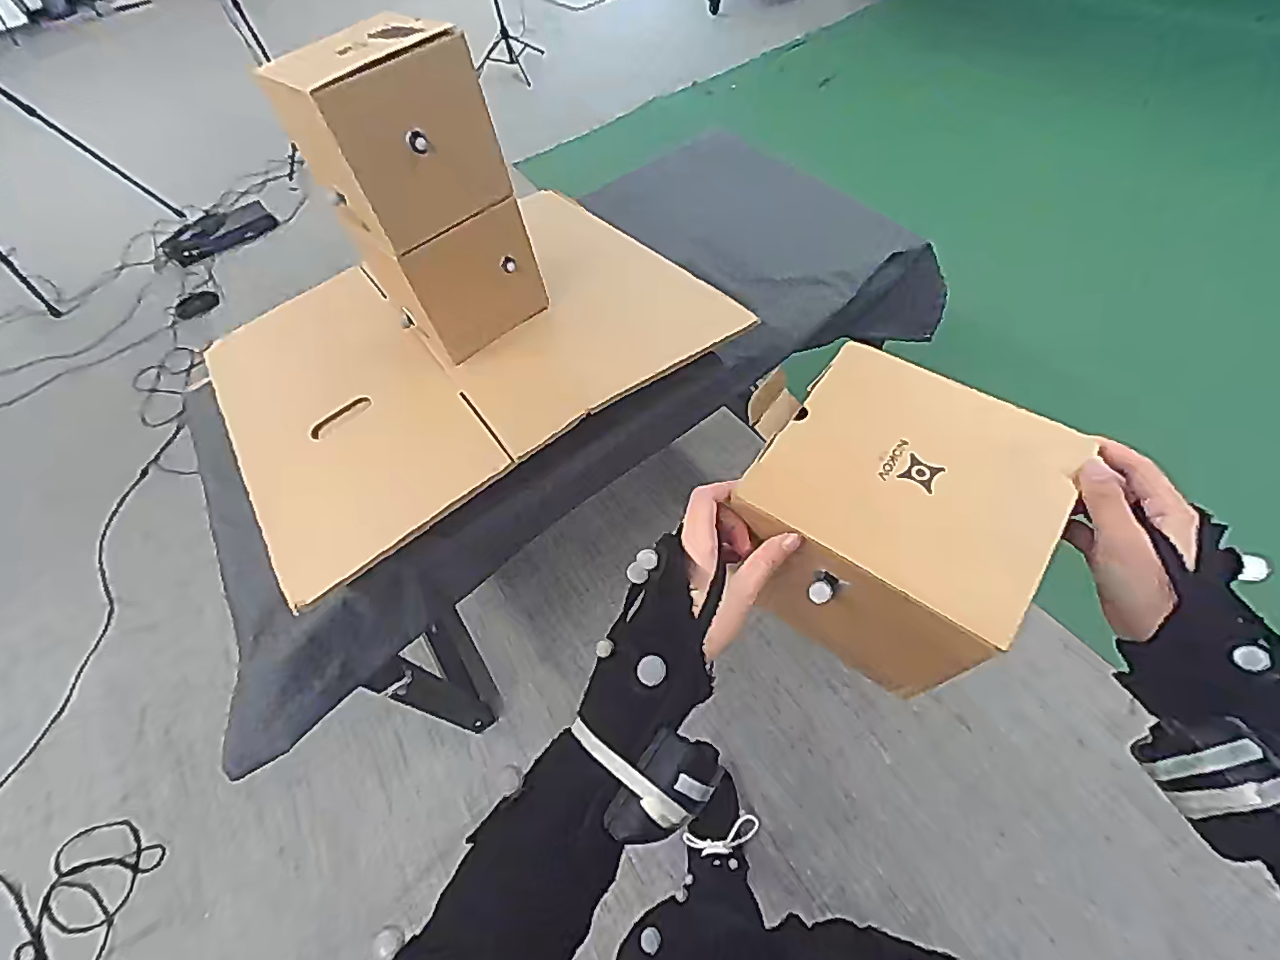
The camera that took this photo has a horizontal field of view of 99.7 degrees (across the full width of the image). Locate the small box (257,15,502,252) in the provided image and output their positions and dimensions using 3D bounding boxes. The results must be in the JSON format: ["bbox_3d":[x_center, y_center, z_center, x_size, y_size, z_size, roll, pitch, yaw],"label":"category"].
[{"bbox_3d":[-0.284,-0.400,0.629,0.179,0.176,0.168,-41,57,-19],"label":"small box"}]

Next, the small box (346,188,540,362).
[{"bbox_3d":[-0.260,-0.302,0.758,0.179,0.176,0.168,-41,57,-18],"label":"small box"}]
